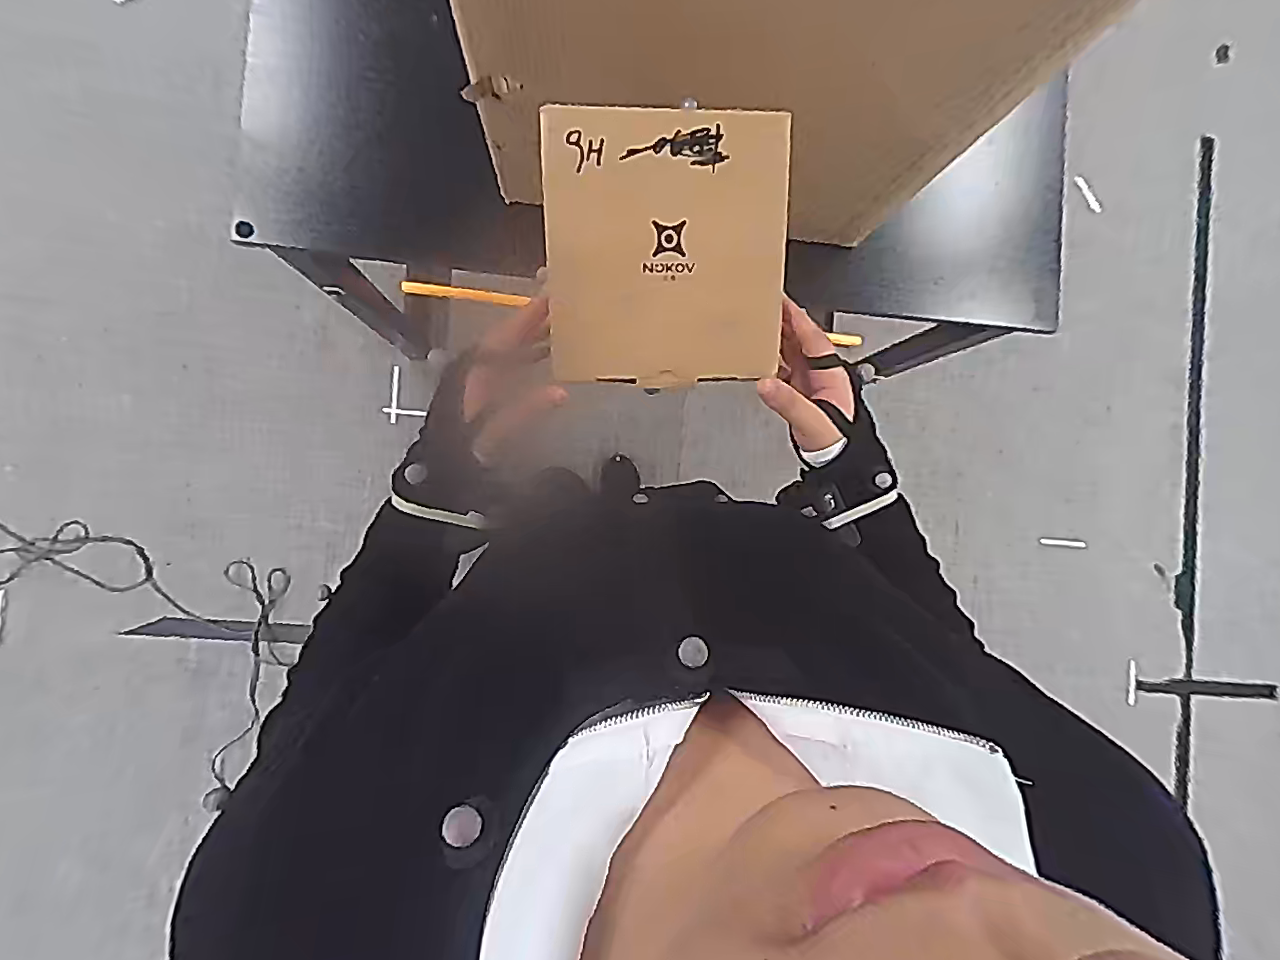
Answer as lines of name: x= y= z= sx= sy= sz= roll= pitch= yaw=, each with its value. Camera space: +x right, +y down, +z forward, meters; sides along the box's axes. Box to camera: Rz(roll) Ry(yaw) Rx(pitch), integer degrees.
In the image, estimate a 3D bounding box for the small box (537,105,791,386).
small box: x=0.011 y=-0.175 z=0.442 sx=0.168 sy=0.176 sz=0.179 roll=-2 pitch=105 yaw=-4
